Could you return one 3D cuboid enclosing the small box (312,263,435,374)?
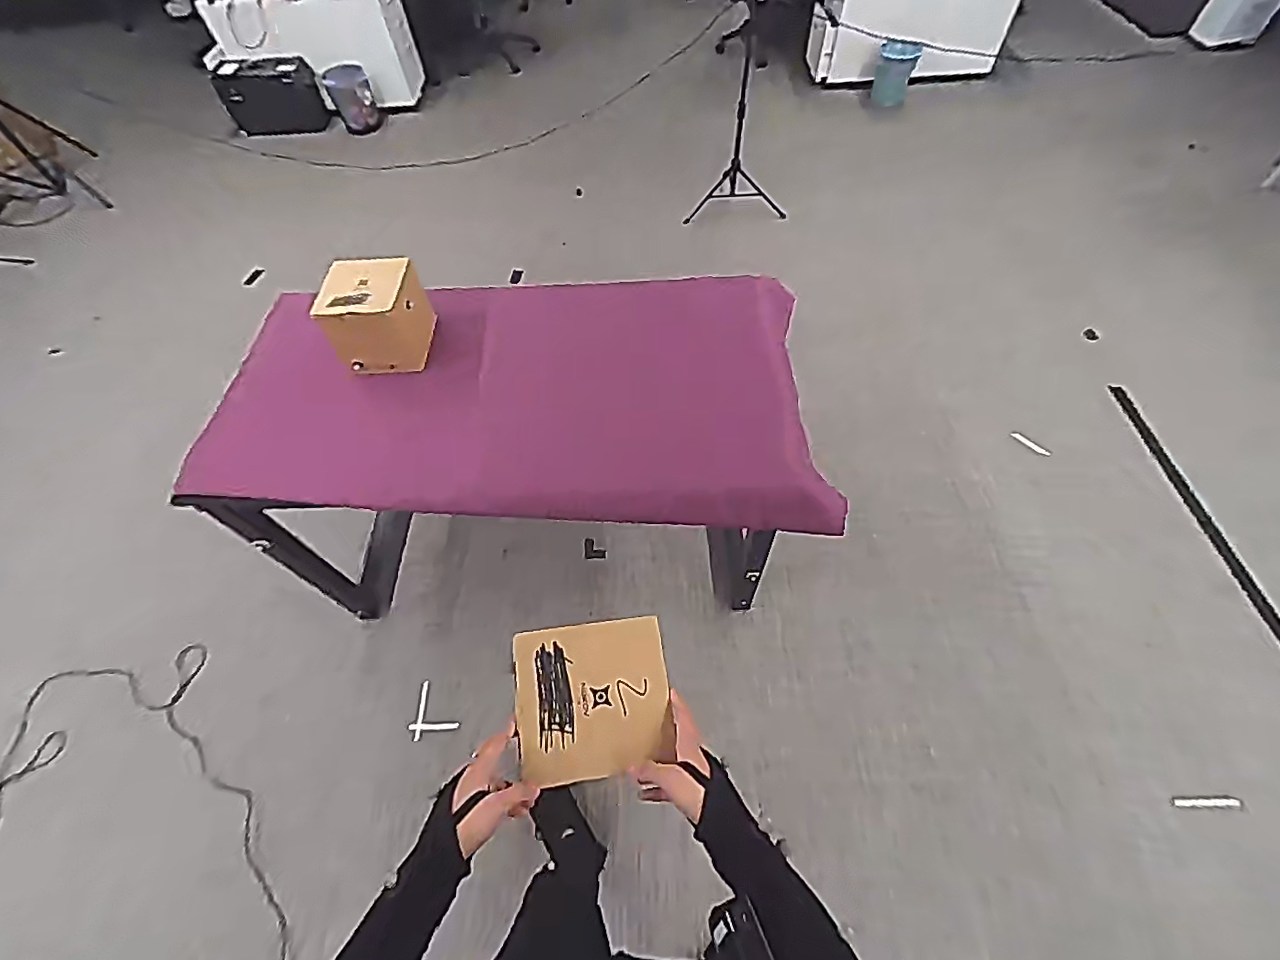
[{"bbox_3d":[-0.567,-0.344,1.179,0.168,0.176,0.179,-2,57,1],"label":"small box"}]
